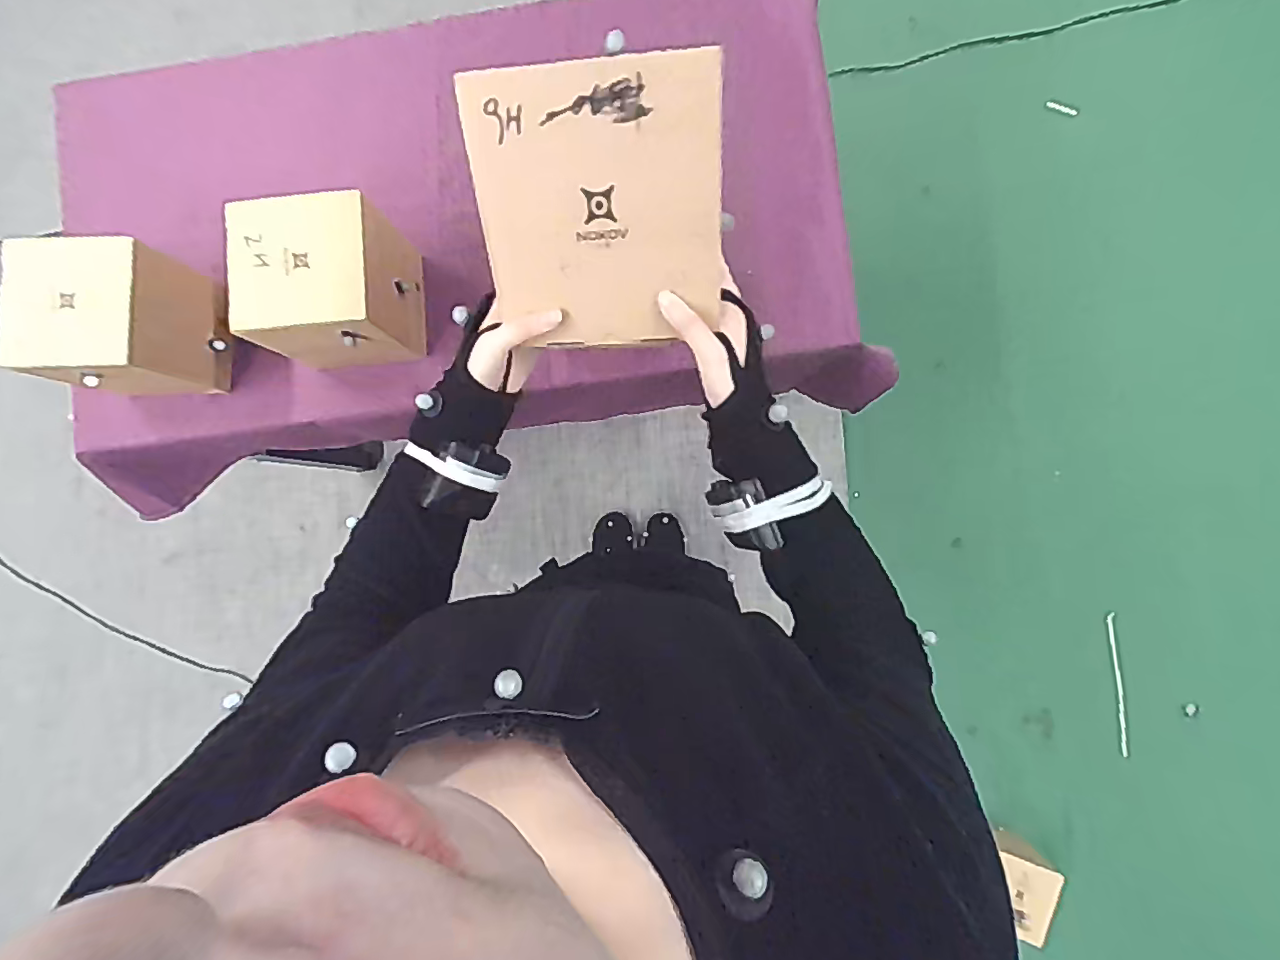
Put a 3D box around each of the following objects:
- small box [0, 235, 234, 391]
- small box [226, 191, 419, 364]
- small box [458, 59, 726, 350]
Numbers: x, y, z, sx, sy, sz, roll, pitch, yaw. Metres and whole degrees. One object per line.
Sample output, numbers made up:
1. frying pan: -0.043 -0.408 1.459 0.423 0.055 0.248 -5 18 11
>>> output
1. small box: -0.716 -0.222 0.756 0.179 0.176 0.168 0 87 2
2. small box: -0.419 -0.265 0.743 0.179 0.176 0.168 -4 86 3
3. small box: -0.019 -0.218 0.433 0.168 0.176 0.179 0 124 5
